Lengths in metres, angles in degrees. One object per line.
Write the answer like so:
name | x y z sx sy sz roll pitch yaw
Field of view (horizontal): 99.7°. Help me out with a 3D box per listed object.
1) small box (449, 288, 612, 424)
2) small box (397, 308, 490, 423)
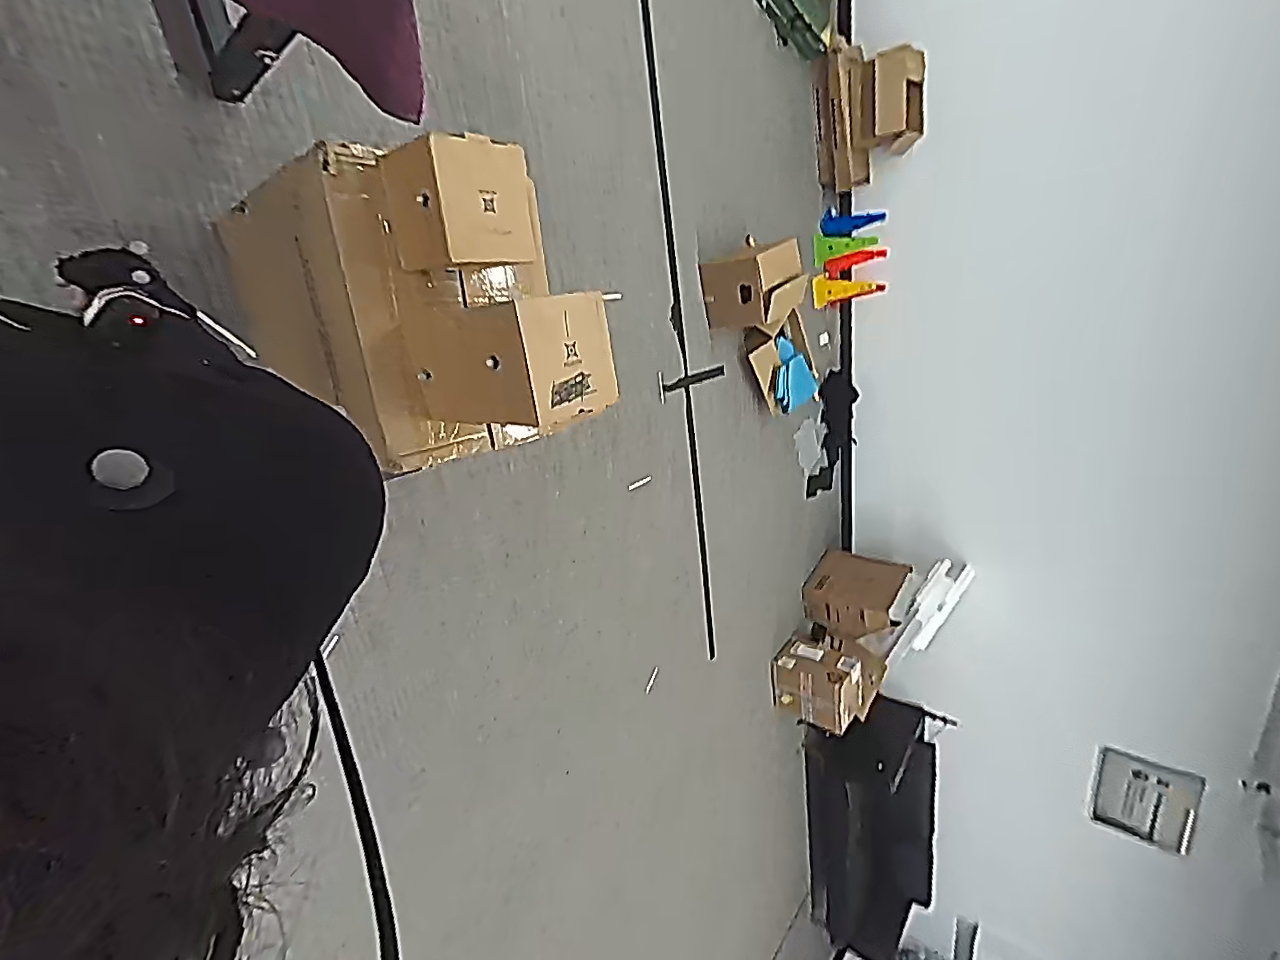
small box | -0.168 -0.193 0.837 0.168 0.176 0.179 -25 114 -44
small box | -0.290 -0.212 0.946 0.168 0.176 0.179 -32 120 -42
